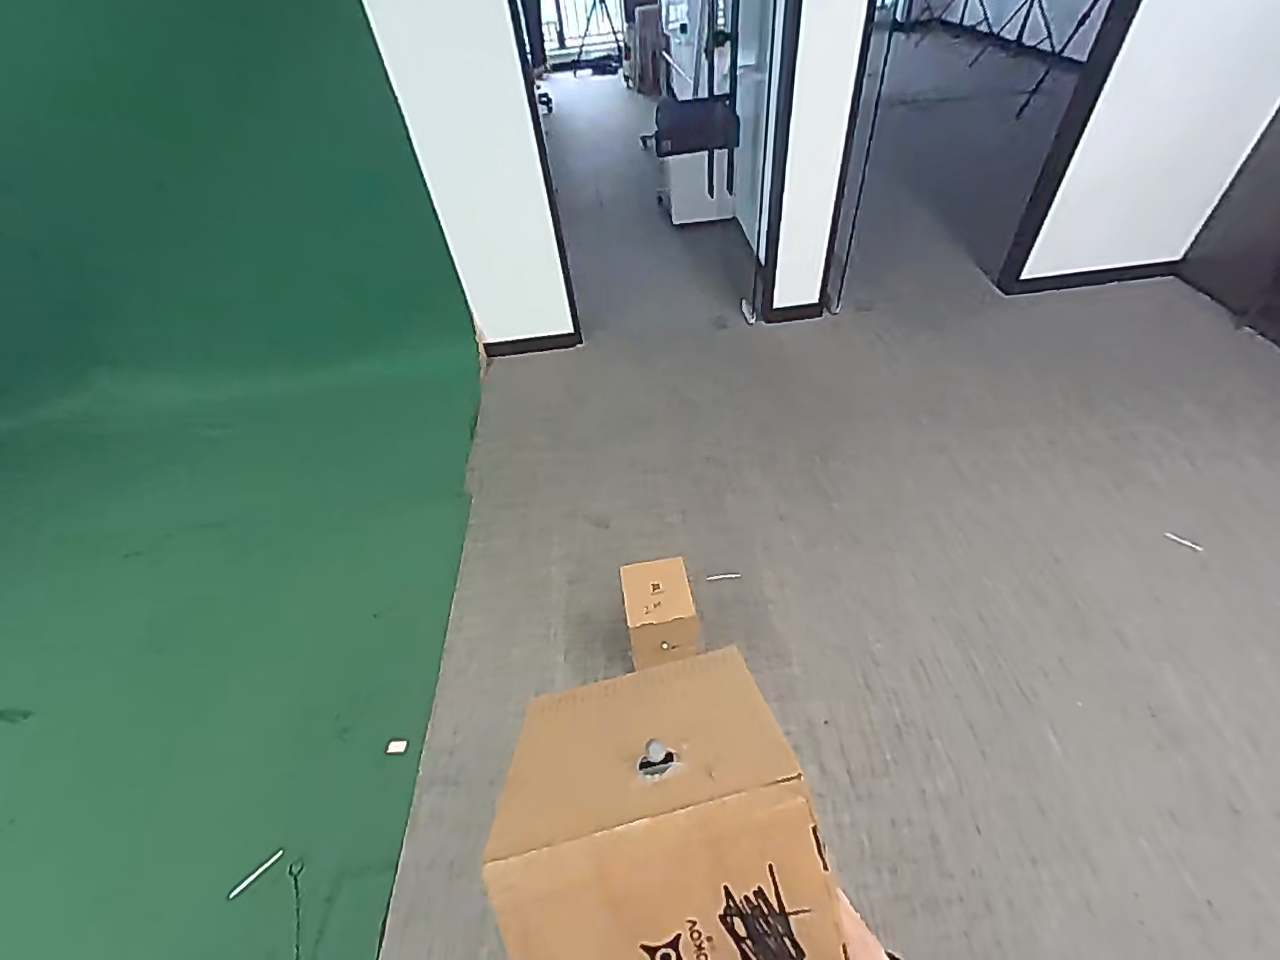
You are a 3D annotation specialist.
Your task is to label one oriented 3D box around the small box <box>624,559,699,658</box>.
[{"bbox_3d":[0.054,0.333,1.397,0.168,0.176,0.179,-10,47,-1],"label":"small box"}]
